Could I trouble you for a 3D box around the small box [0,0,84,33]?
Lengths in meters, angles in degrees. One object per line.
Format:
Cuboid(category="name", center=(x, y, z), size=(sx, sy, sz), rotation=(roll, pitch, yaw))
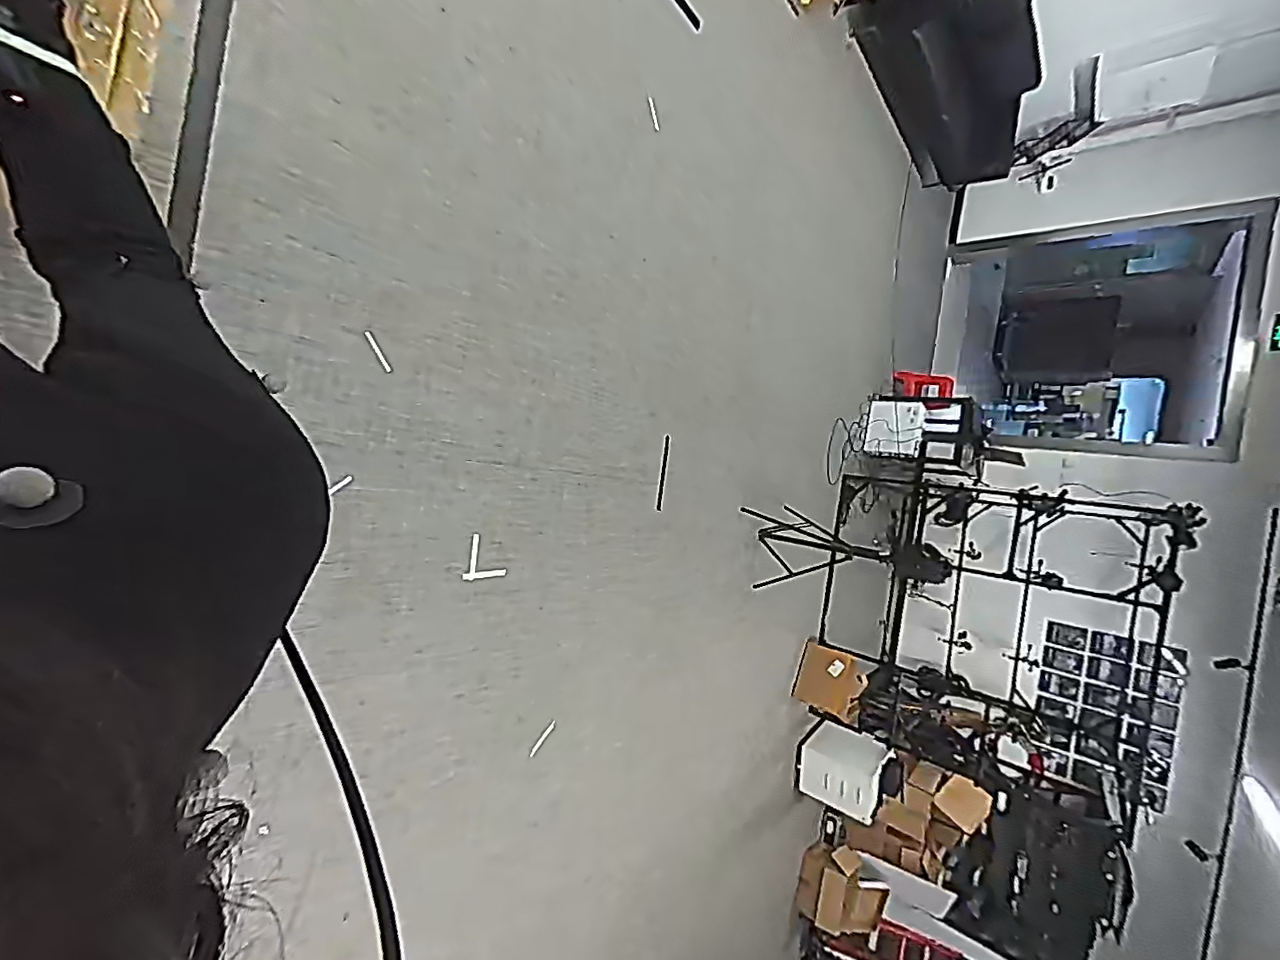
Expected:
Cuboid(category="small box", center=(-0.615, -0.562, 0.492), size=(0.179, 0.176, 0.168), rotation=(15, 86, -49))
